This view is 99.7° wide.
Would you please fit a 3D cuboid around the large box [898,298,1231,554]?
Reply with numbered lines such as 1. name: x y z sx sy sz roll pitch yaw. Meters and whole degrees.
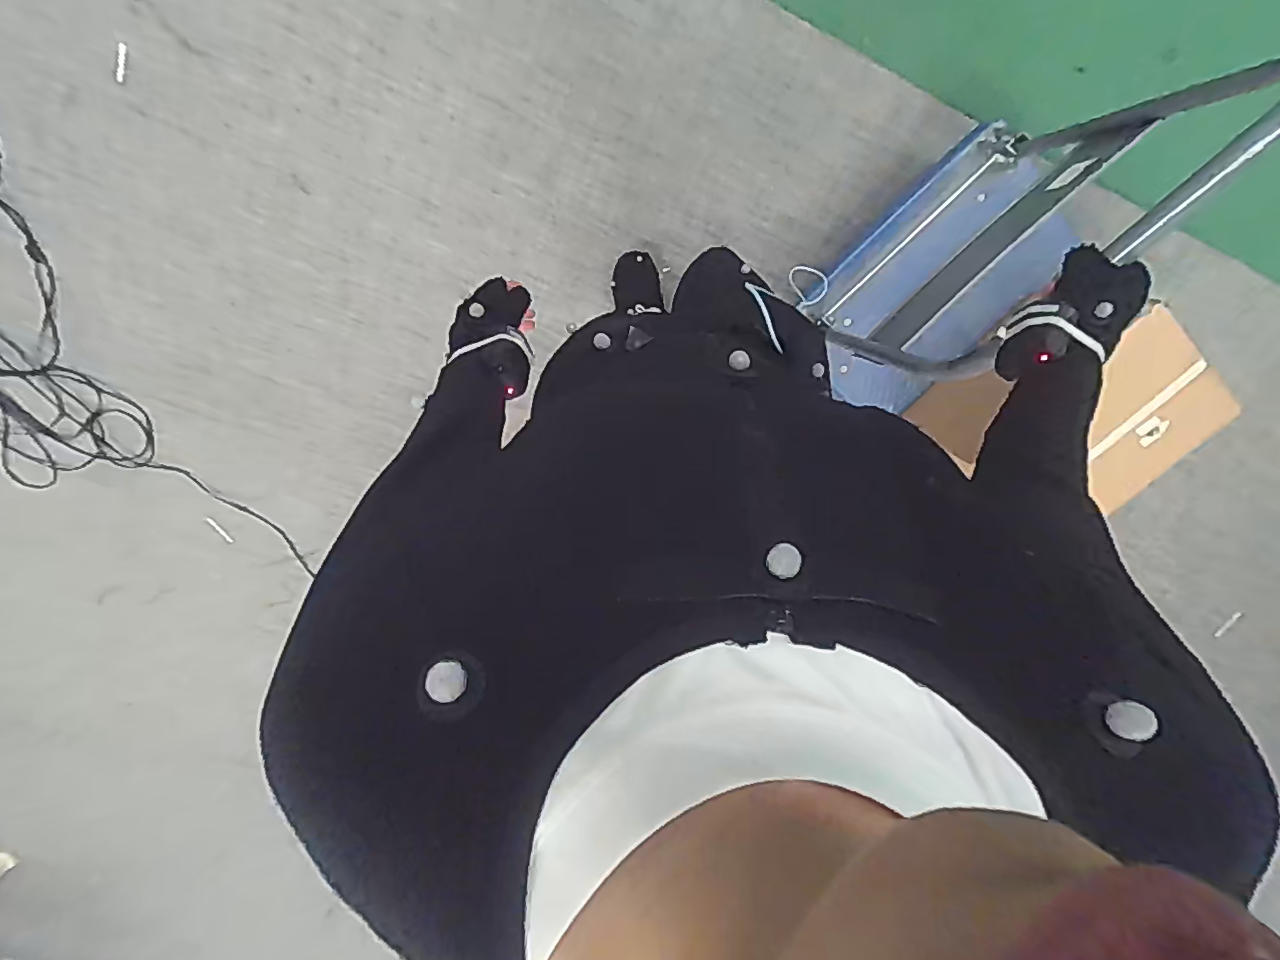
1. large box: 0.864 -0.129 1.163 0.320 0.320 0.408 38 105 -17
